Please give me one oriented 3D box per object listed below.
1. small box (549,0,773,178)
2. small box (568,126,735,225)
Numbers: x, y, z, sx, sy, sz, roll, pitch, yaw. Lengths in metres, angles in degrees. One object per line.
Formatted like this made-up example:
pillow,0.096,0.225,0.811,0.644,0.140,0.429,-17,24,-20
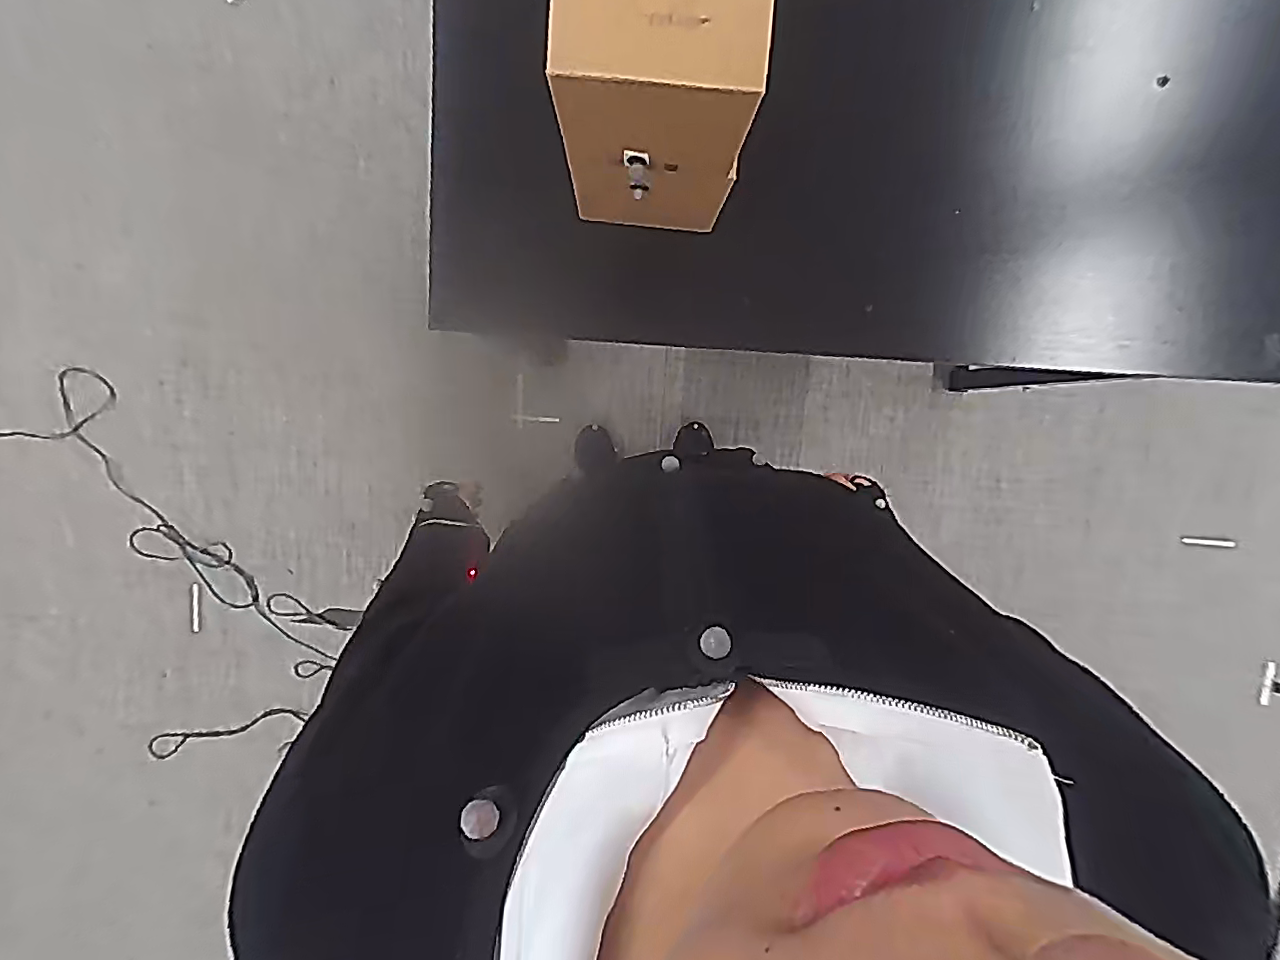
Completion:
small box,0.018,-0.396,0.471,0.168,0.176,0.179,4,98,-1
small box,0.016,-0.416,0.633,0.179,0.176,0.168,5,97,-3
